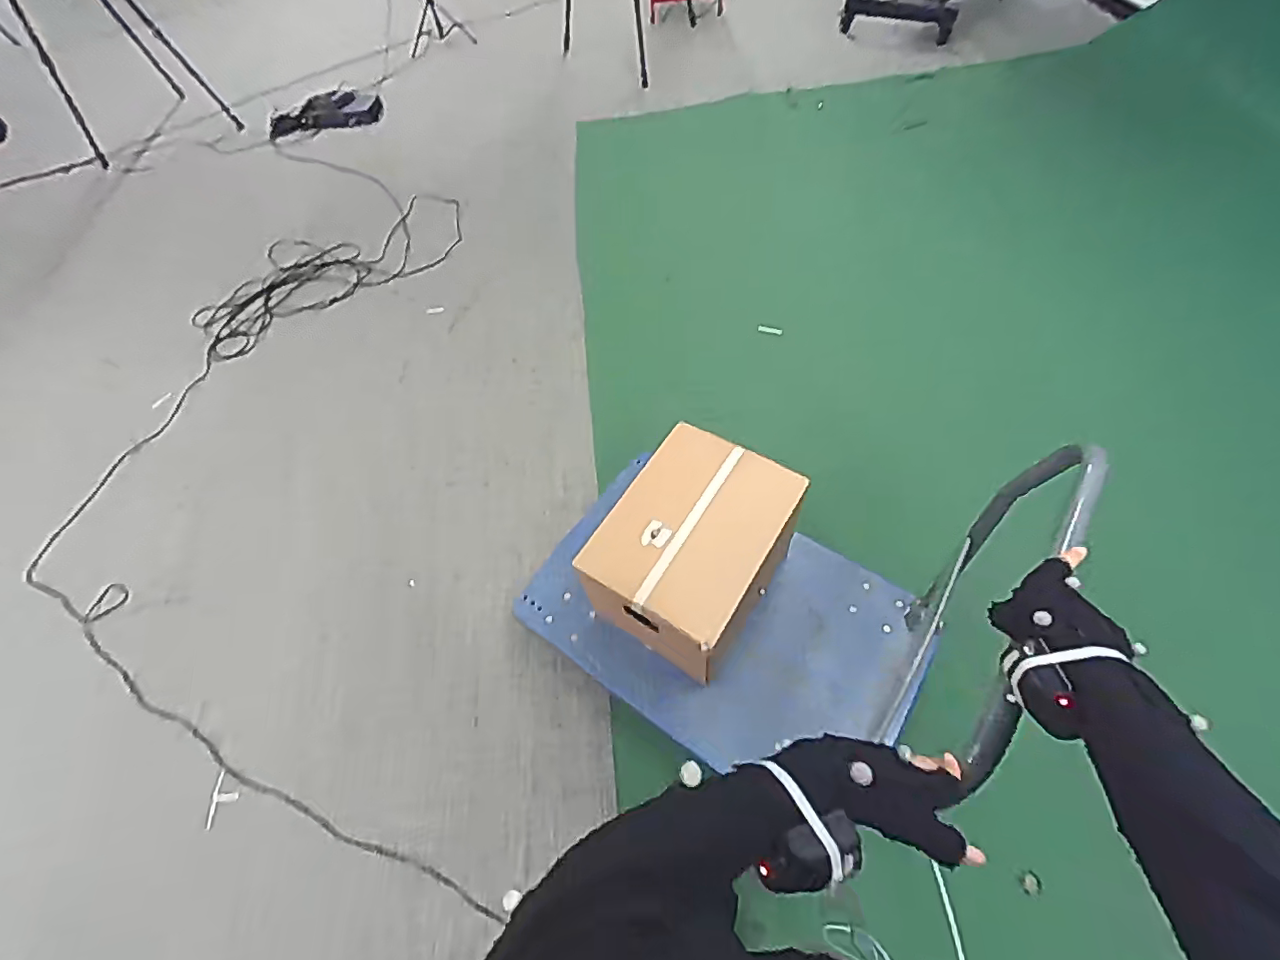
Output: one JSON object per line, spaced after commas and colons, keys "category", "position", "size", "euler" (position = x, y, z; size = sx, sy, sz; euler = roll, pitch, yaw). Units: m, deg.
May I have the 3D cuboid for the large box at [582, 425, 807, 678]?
{"category": "large box", "position": [0.129, 0.160, 1.207], "size": [0.320, 0.320, 0.408], "euler": [27, 65, 22]}
